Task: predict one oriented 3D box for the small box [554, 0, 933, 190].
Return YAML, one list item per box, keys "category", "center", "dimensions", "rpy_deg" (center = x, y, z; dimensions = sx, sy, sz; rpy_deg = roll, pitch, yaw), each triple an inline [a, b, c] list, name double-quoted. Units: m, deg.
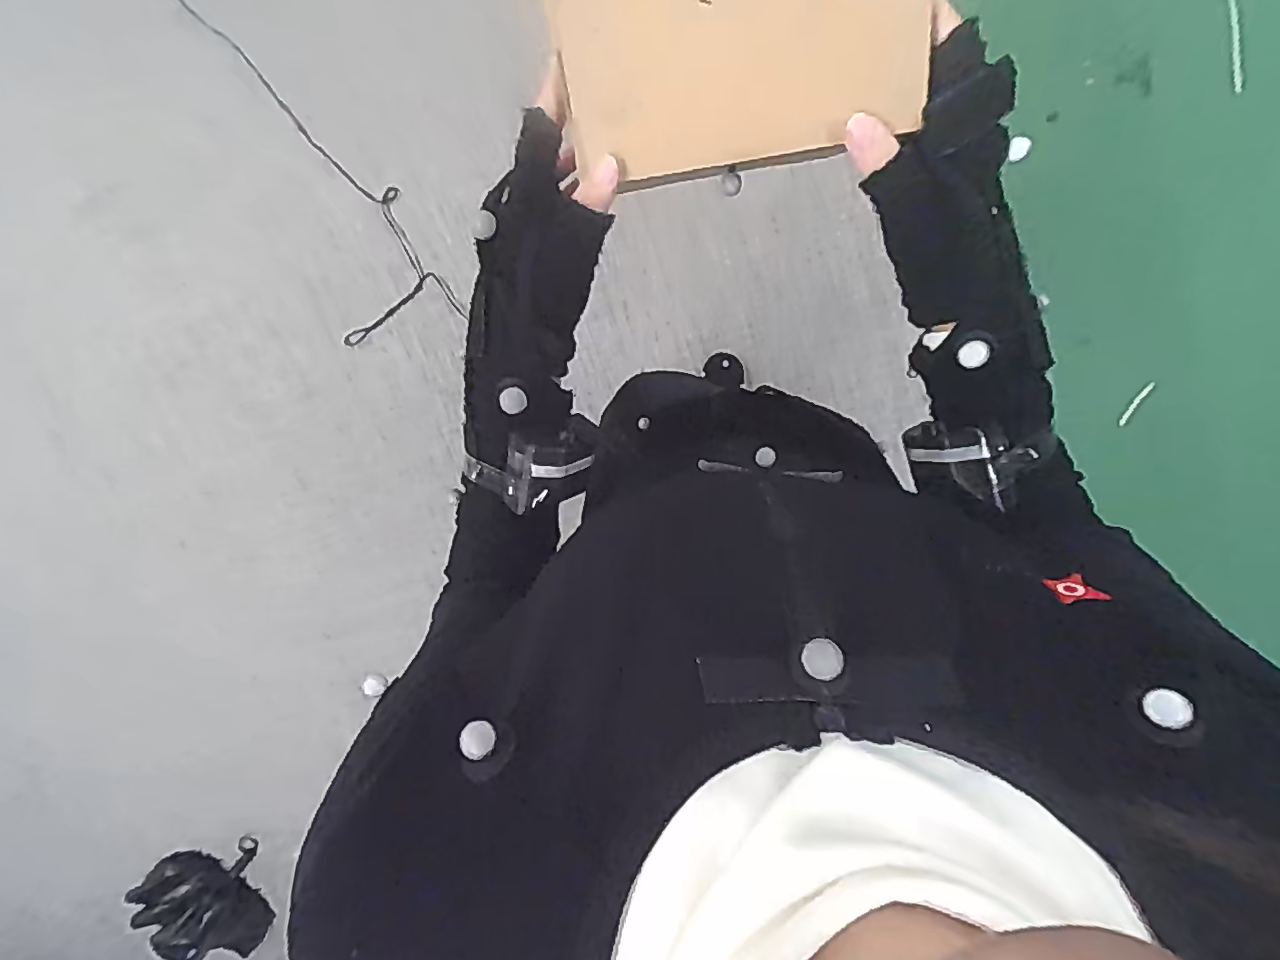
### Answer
- category: "small box"
  center: [0.047, -0.274, 0.315]
  dimensions: [0.179, 0.176, 0.168]
  rpy_deg: [-8, 118, 6]
